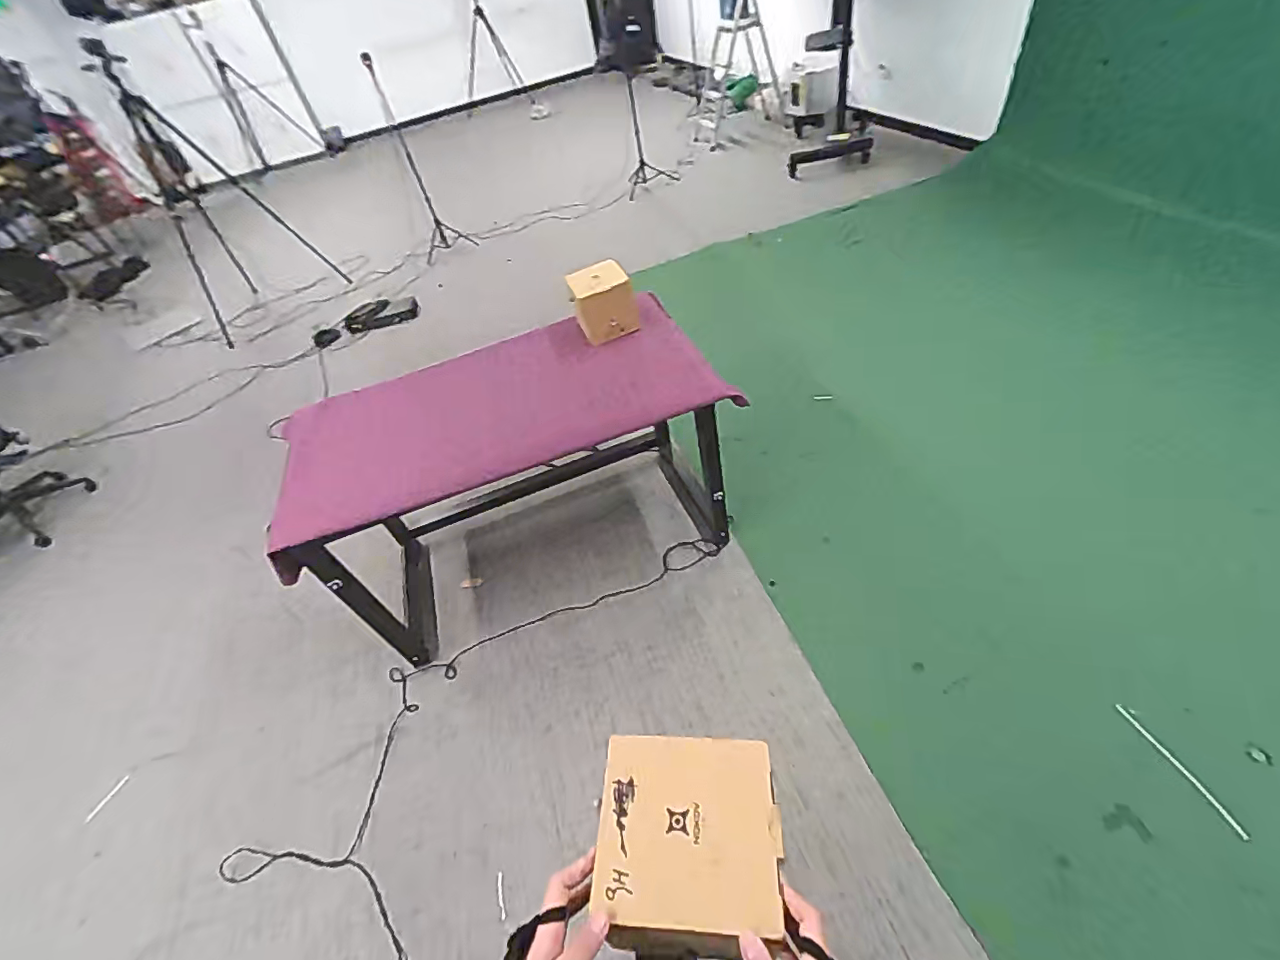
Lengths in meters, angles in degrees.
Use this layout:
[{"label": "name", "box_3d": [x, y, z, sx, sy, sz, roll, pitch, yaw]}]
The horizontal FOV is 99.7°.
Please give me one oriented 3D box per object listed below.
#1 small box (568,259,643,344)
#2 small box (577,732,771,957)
[{"label": "small box", "box_3d": [-0.106, -0.557, 1.693, 0.168, 0.176, 0.179, -24, 47, -3]}, {"label": "small box", "box_3d": [0.044, 0.399, 0.593, 0.179, 0.176, 0.168, -1, 42, 8]}]
